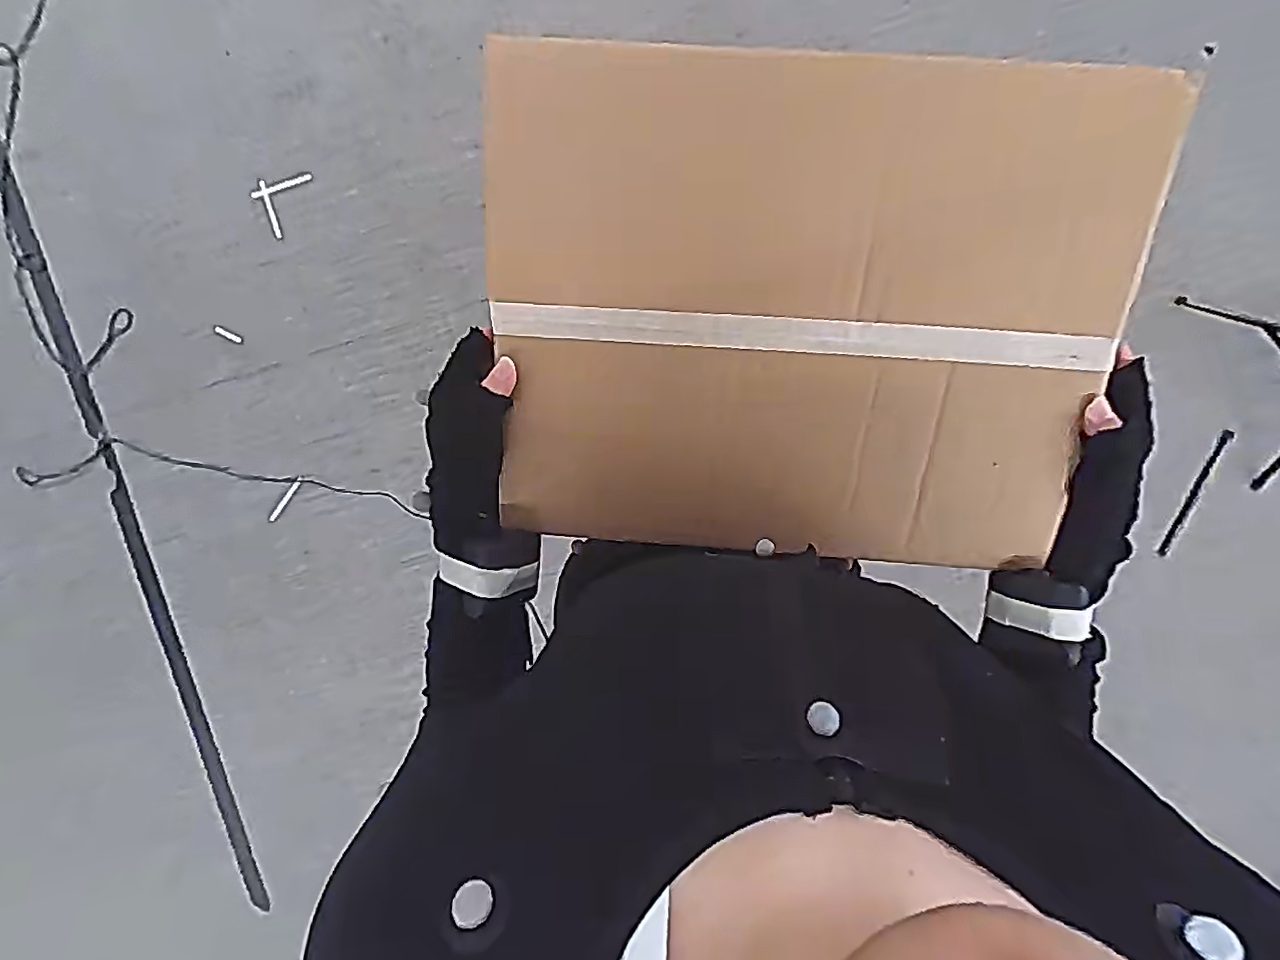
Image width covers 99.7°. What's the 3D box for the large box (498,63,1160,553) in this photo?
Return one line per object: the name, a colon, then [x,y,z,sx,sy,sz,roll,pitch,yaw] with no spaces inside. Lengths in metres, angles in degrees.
large box: [0.109,-0.145,0.512,0.408,0.320,0.320,4,110,1]
